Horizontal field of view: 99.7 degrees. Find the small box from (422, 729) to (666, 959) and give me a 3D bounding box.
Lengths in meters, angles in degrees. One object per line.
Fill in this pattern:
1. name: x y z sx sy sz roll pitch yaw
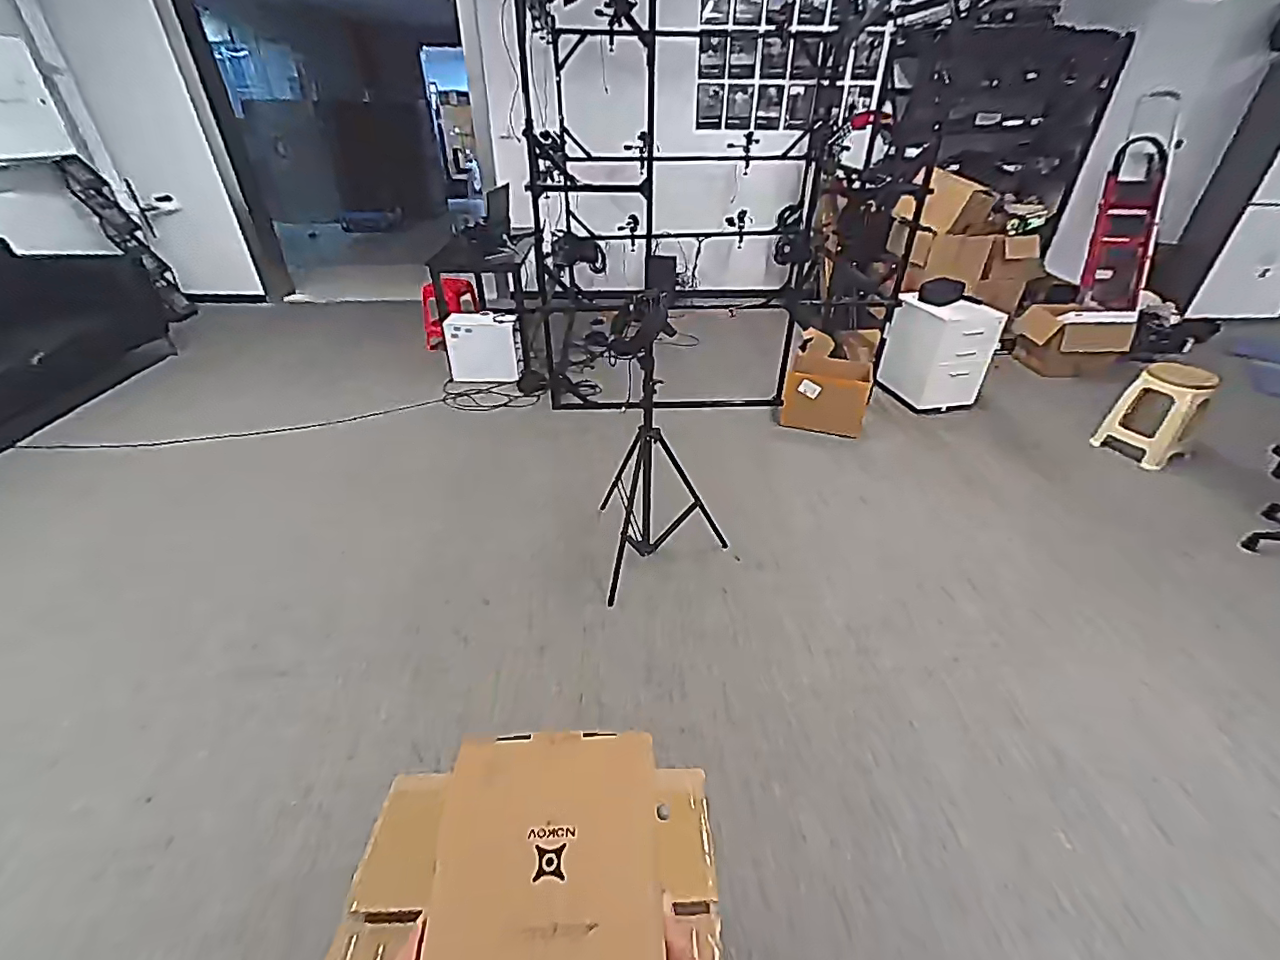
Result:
1. small box: -0.068 0.335 0.461 0.168 0.176 0.179 -2 45 -2
